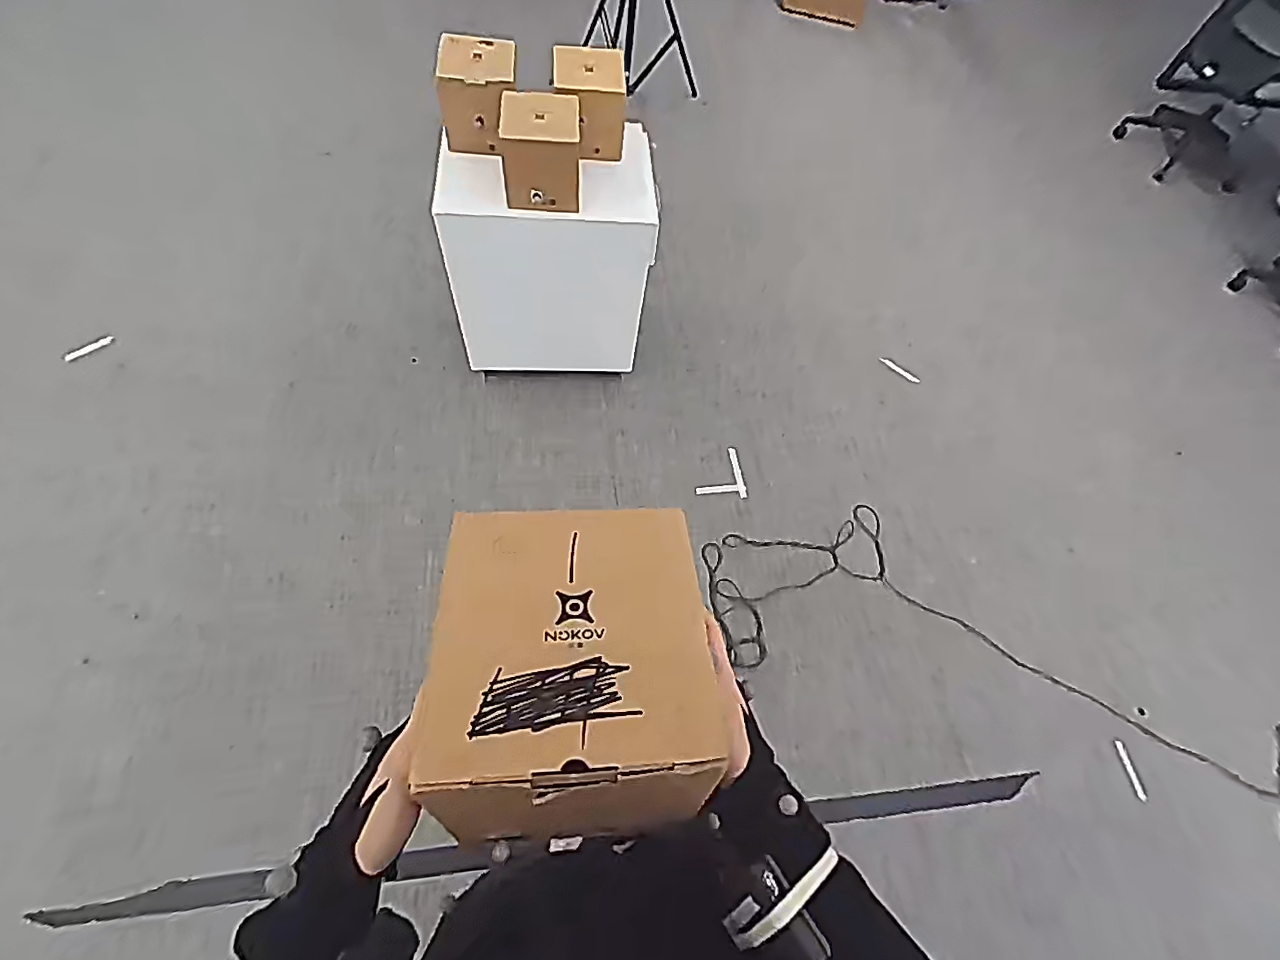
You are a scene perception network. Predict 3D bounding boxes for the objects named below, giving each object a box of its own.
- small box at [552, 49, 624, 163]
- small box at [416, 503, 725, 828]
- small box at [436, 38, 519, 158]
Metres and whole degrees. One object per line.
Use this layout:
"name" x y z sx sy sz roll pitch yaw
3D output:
"small box" -0.128 -0.907 1.320 0.168 0.176 0.179 -1 64 -8
"small box" -0.046 0.138 0.395 0.168 0.176 0.179 -2 48 -7
"small box" -0.376 -0.898 1.281 0.168 0.176 0.179 -1 65 -9
